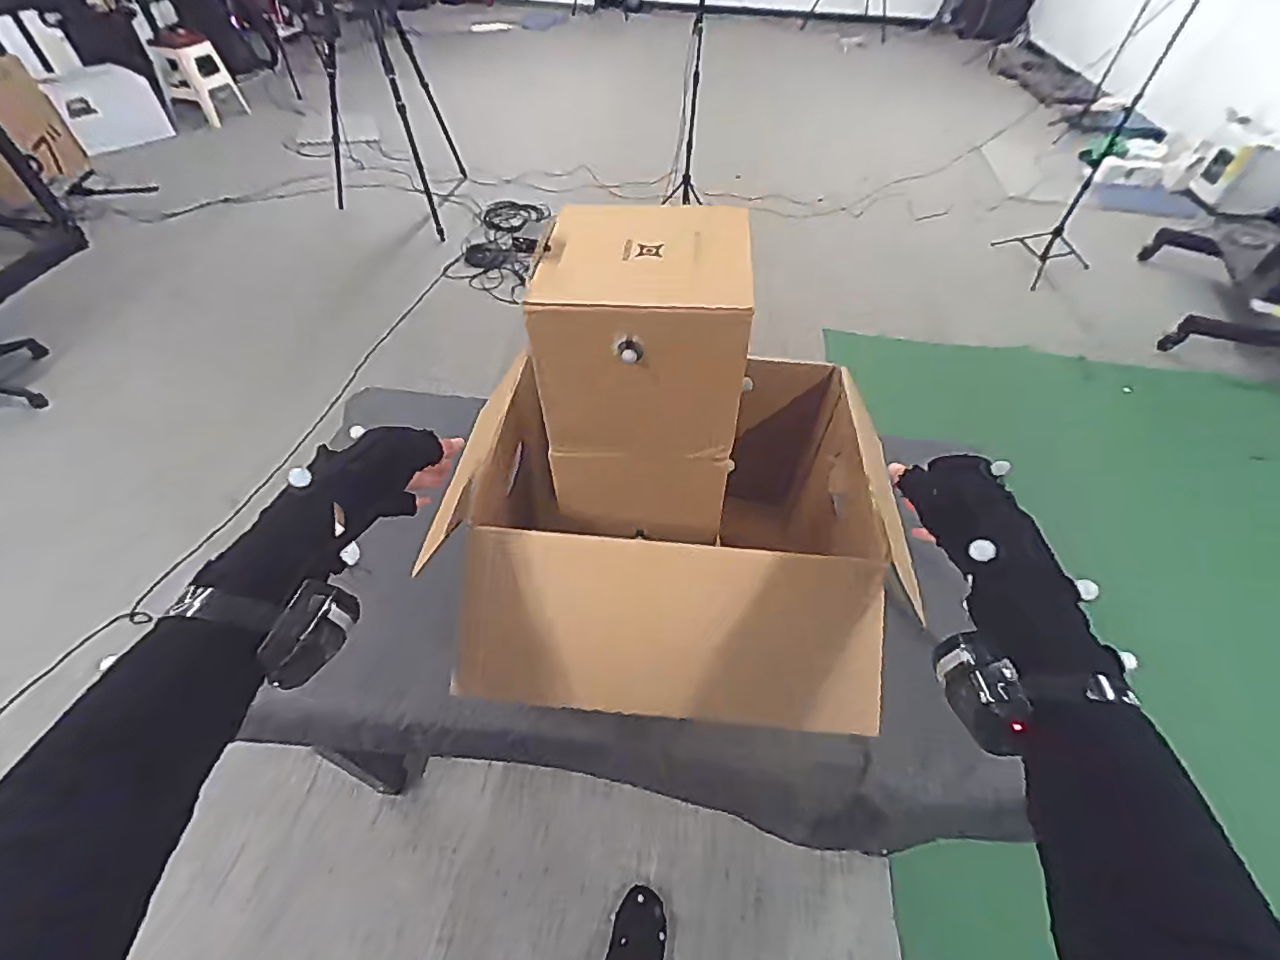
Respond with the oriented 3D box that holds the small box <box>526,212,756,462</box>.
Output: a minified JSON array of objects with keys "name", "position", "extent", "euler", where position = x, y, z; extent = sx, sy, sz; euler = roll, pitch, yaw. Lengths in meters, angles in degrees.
[{"name":"small box","position":[0.007,-0.132,0.512],"extent":[0.179,0.176,0.168],"euler":[3,51,3]}]
